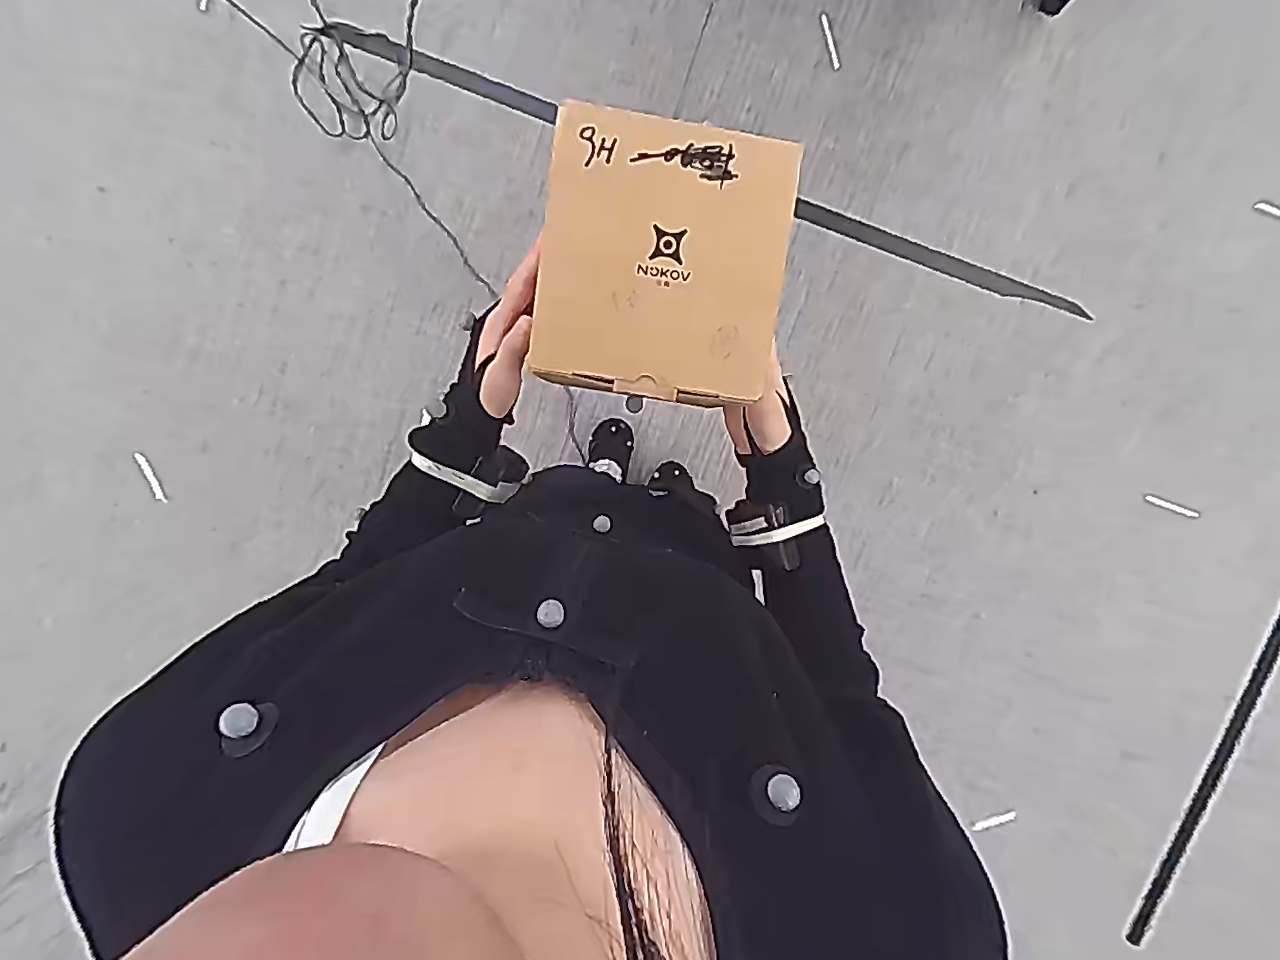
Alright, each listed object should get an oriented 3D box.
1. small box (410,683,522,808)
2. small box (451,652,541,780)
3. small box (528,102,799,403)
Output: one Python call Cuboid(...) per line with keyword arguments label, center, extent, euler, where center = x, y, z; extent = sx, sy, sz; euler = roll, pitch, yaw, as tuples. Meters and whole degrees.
Cuboid(label="small box", center=(-0.329, 0.507, 1.005), extent=(0.168, 0.176, 0.179), euler=(16, 95, 1))
Cuboid(label="small box", center=(-0.324, 0.502, 1.167), extent=(0.168, 0.176, 0.179), euler=(17, 94, -1))
Cuboid(label="small box", center=(0.011, -0.162, 0.448), extent=(0.168, 0.176, 0.179), euler=(8, 97, -5))
